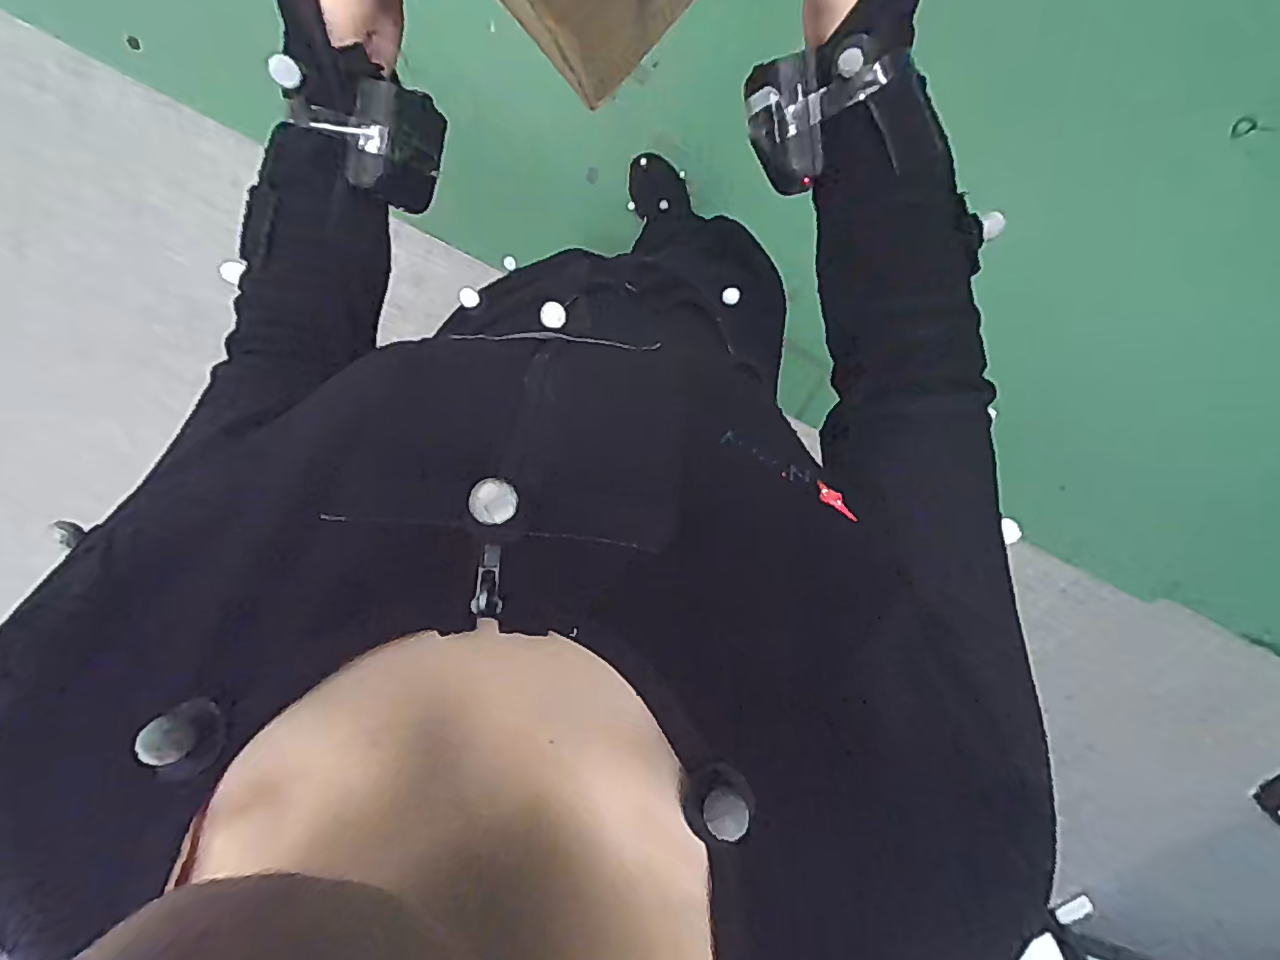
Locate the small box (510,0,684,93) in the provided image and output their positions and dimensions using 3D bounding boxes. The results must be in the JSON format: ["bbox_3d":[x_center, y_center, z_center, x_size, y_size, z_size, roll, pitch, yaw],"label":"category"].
[{"bbox_3d":[-0.030,-0.334,0.252,0.179,0.176,0.168,-41,102,19],"label":"small box"}]
